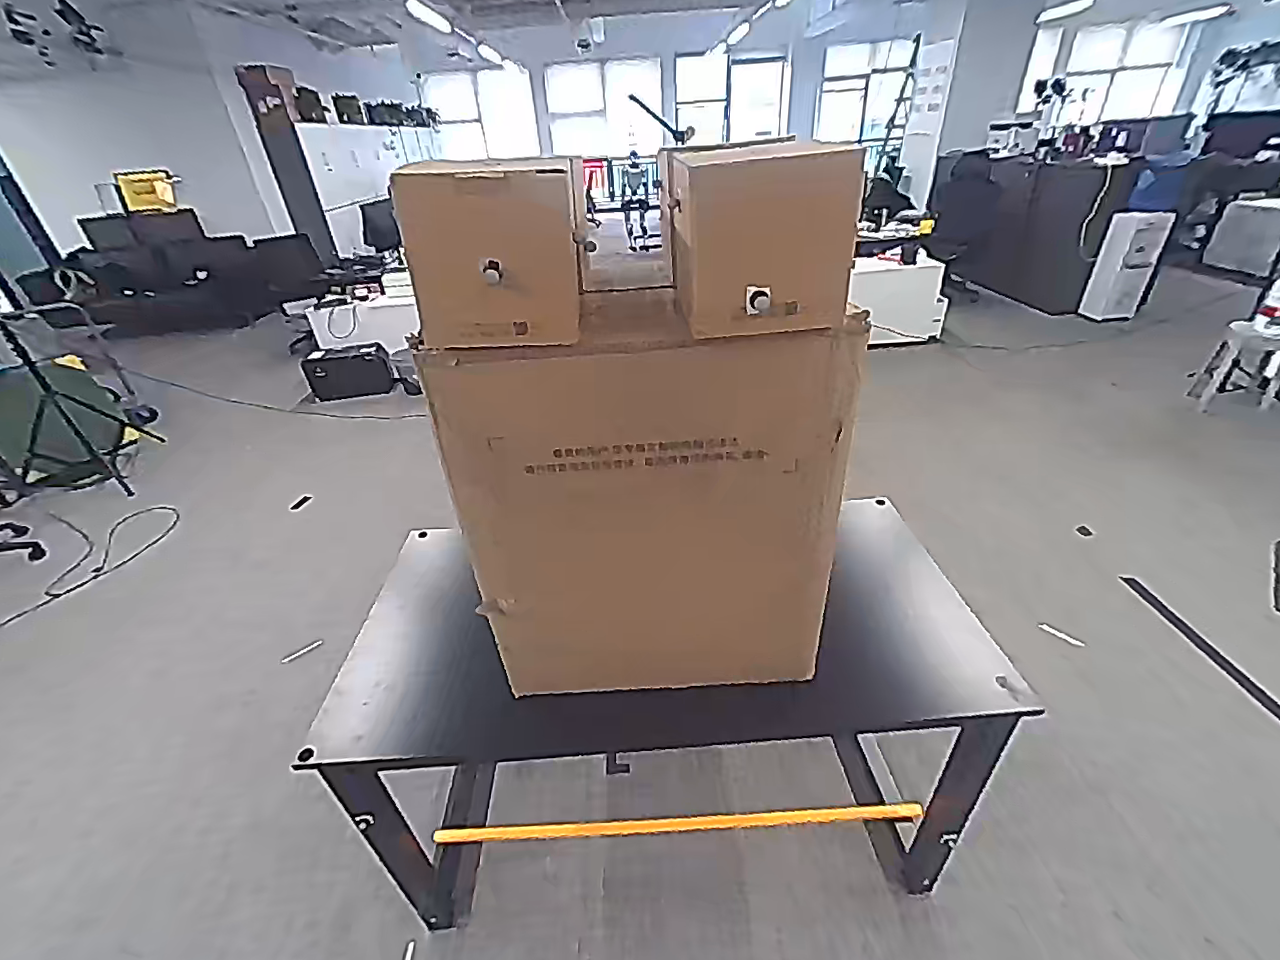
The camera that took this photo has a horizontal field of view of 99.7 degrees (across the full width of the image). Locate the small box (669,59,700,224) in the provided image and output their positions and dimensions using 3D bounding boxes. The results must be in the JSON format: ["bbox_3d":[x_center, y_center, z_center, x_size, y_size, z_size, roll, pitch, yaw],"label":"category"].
[{"bbox_3d":[0.128,-0.436,0.708,0.168,0.176,0.179,-6,30,0],"label":"small box"}]

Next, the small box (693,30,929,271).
[{"bbox_3d":[0.143,-0.313,0.525,0.168,0.176,0.179,-7,35,1],"label":"small box"}]

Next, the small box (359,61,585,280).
[{"bbox_3d":[-0.142,-0.300,0.529,0.168,0.176,0.179,-3,36,-6],"label":"small box"}]

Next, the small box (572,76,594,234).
[{"bbox_3d":[-0.158,-0.409,0.700,0.179,0.176,0.168,-2,32,0],"label":"small box"}]
